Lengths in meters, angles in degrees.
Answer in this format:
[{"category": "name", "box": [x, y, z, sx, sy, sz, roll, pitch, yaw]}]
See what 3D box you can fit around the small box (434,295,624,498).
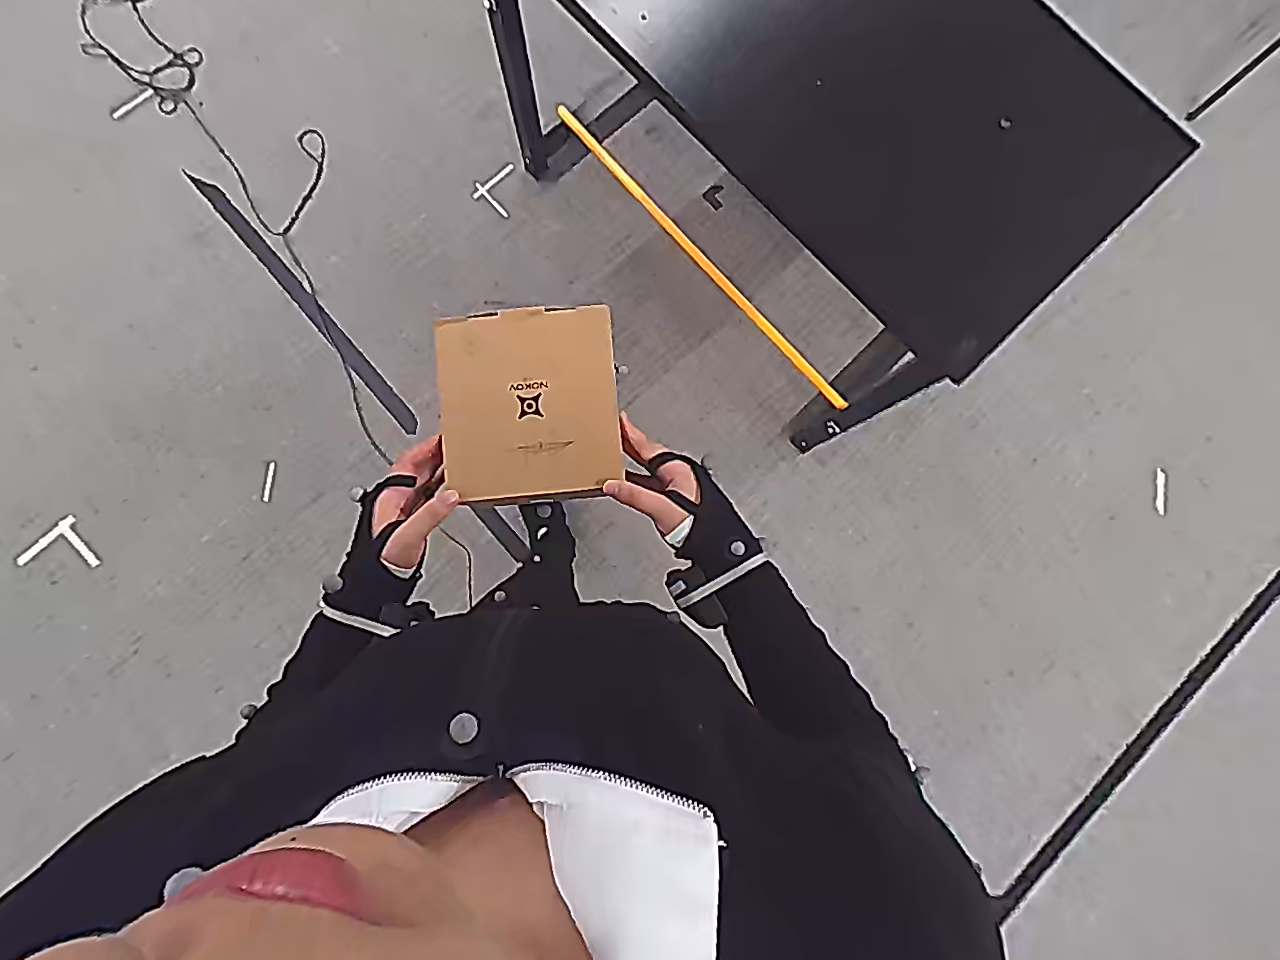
[{"category": "small box", "box": [-0.108, -0.077, 0.578, 0.168, 0.176, 0.179, -5, 86, -3]}]
